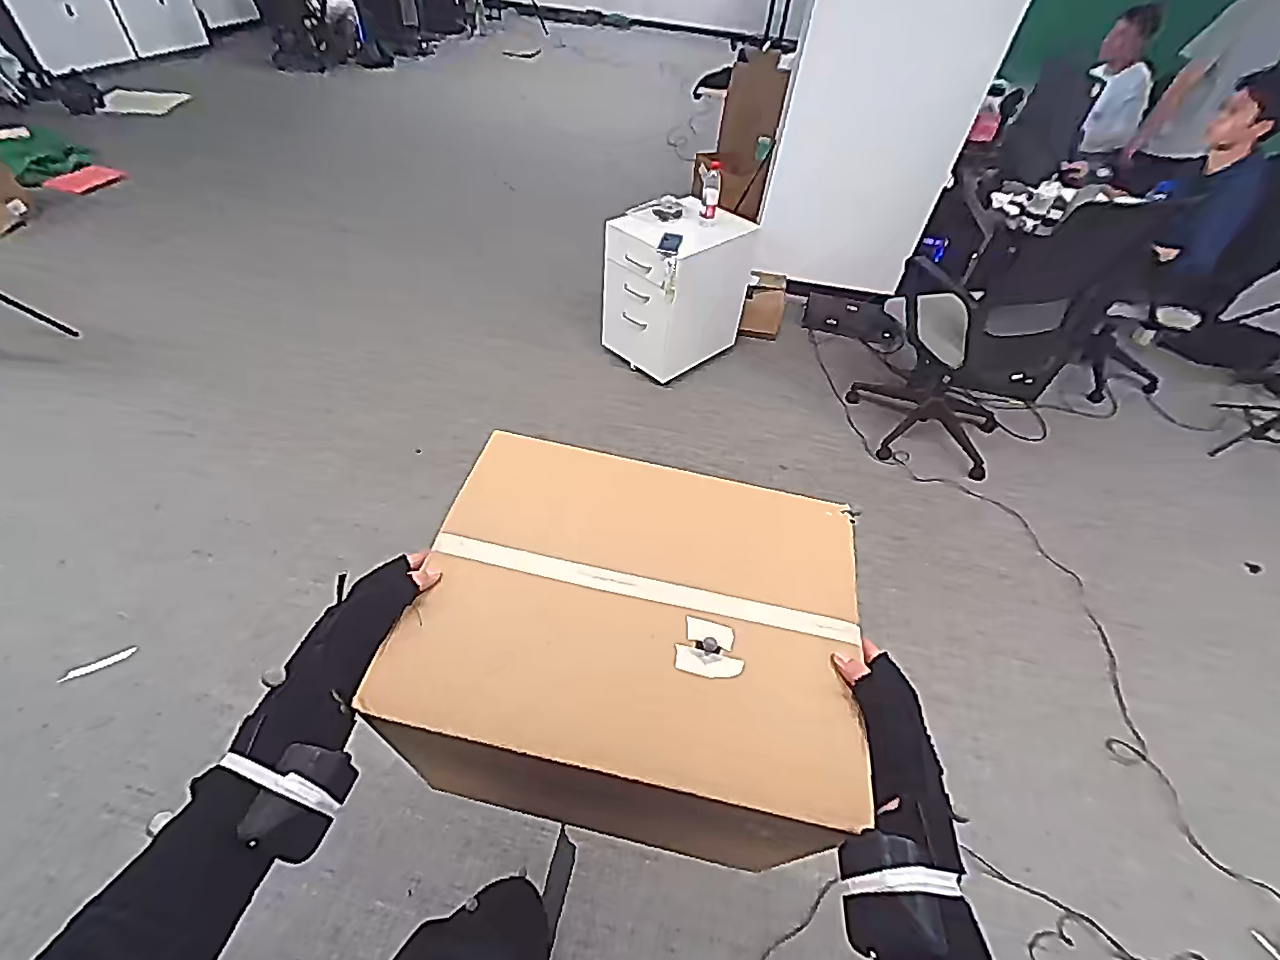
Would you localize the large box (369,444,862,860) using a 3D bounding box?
[{"bbox_3d":[-0.014,0.204,0.627,0.408,0.320,0.320,12,51,2],"label":"large box"}]
